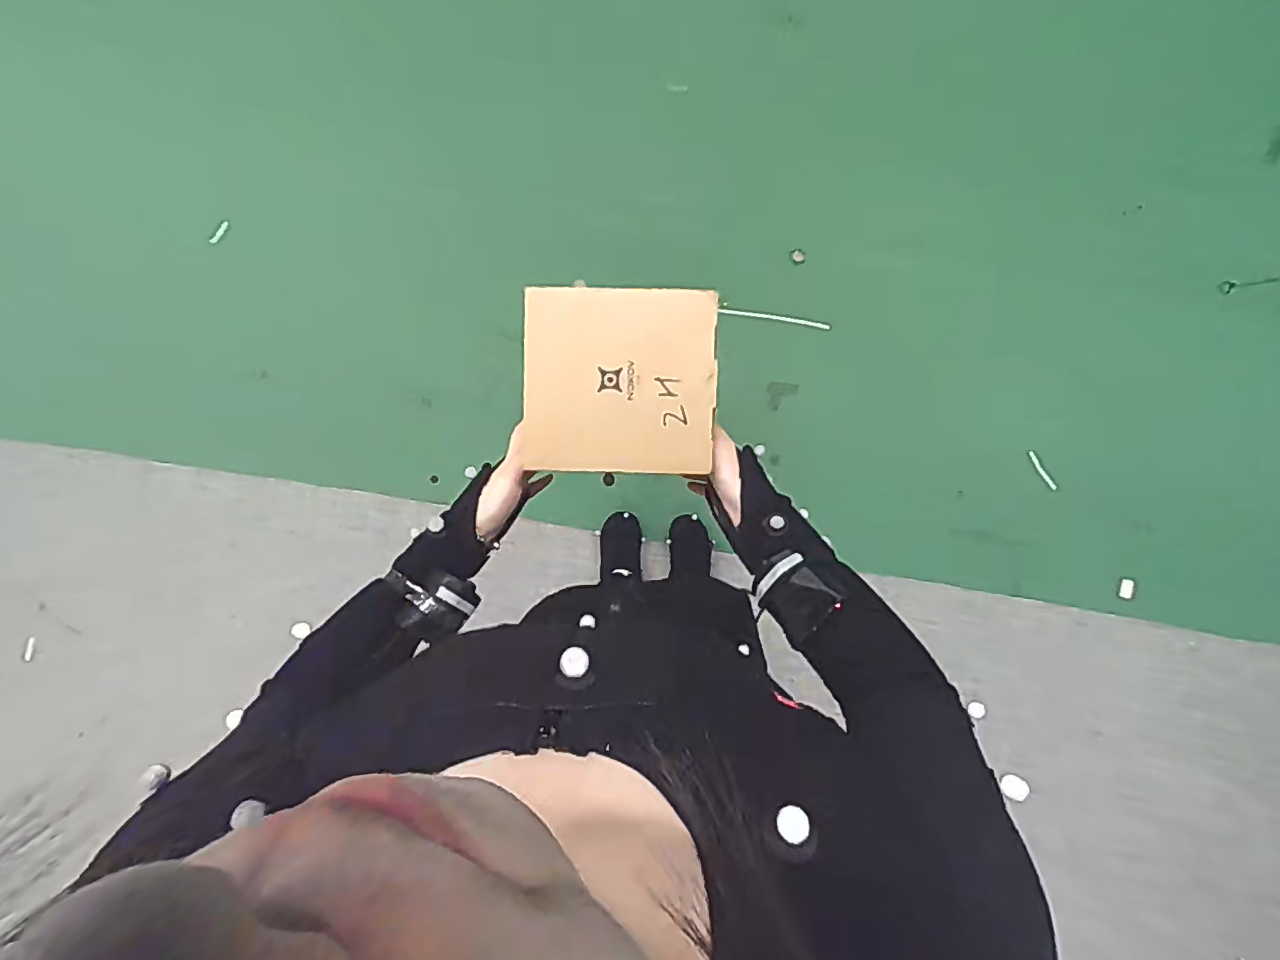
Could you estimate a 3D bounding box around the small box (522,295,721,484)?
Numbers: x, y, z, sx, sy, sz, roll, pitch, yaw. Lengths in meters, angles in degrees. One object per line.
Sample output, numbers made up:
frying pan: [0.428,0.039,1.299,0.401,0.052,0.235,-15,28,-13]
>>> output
small box: [-0.016,-0.086,0.564,0.179,0.176,0.168,2,94,0]
